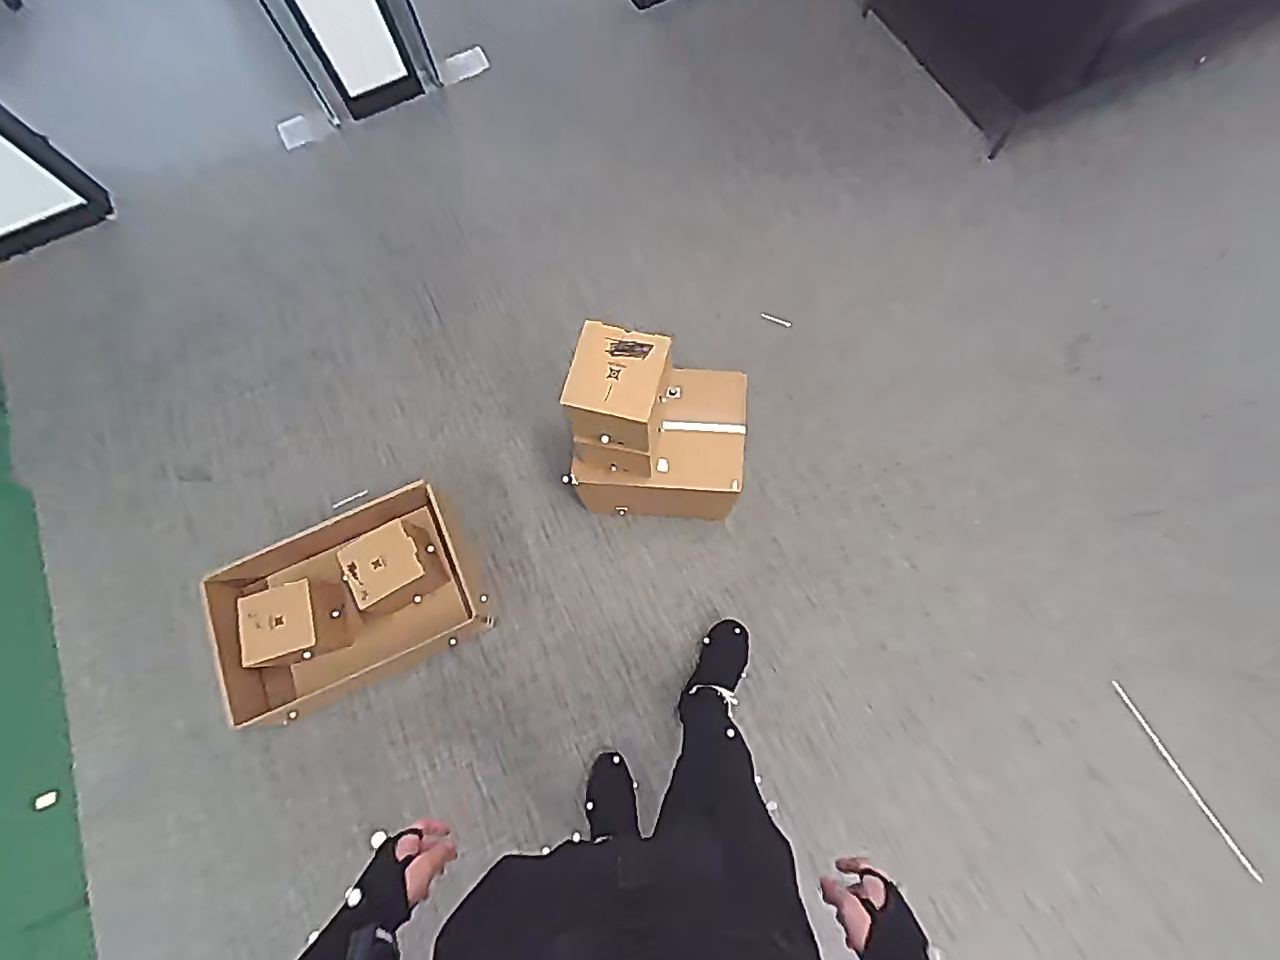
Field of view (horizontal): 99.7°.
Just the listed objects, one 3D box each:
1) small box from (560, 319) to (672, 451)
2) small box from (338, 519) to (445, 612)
[{"bbox_3d":[-0.040,-0.176,1.041,0.168,0.176,0.179,14,76,7],"label":"small box"},{"bbox_3d":[-0.627,0.225,1.393,0.179,0.176,0.168,-30,74,-6],"label":"small box"}]
